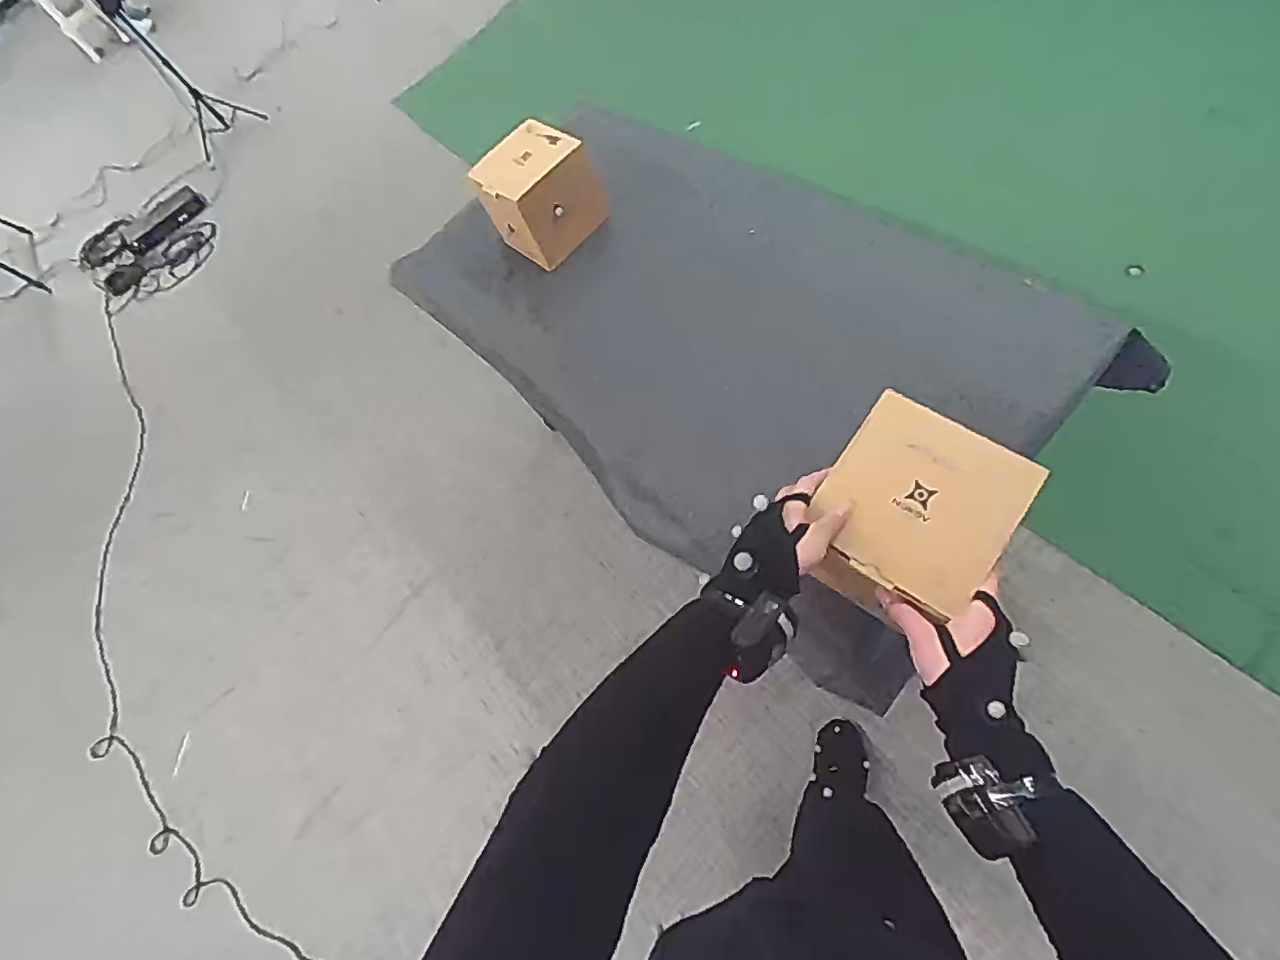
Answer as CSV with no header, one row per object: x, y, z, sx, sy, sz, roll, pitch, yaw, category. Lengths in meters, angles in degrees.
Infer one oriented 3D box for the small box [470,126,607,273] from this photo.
-0.193,-0.552,1.079,0.168,0.176,0.179,40,82,26,small box

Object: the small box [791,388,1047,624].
0.281,0.040,0.591,0.168,0.176,0.179,34,80,17,small box
